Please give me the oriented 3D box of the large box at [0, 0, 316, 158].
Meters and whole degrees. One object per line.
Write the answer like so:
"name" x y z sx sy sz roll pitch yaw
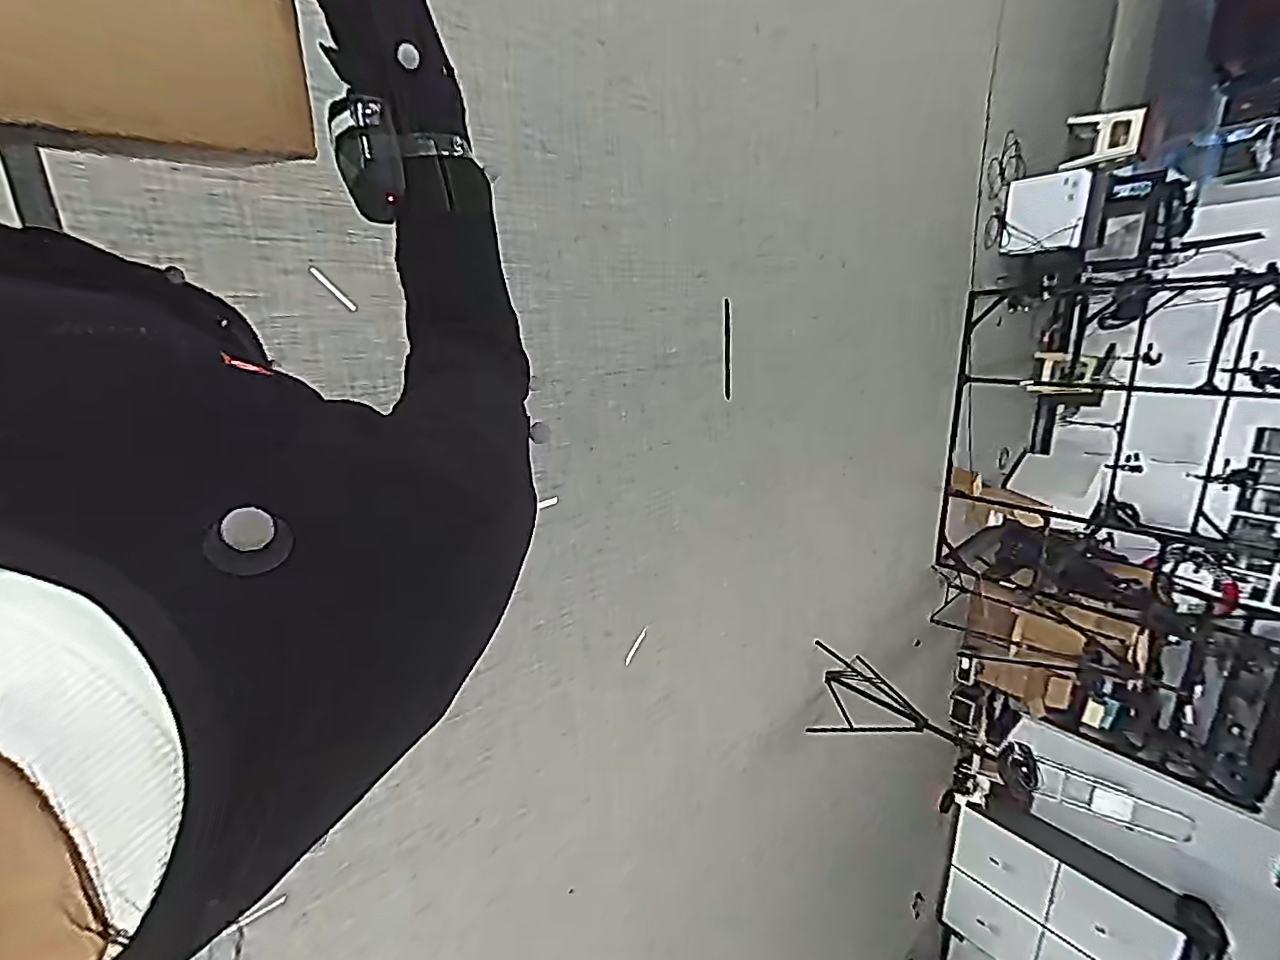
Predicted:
"large box" -0.461 -0.369 0.284 0.408 0.320 0.320 -18 125 -38
